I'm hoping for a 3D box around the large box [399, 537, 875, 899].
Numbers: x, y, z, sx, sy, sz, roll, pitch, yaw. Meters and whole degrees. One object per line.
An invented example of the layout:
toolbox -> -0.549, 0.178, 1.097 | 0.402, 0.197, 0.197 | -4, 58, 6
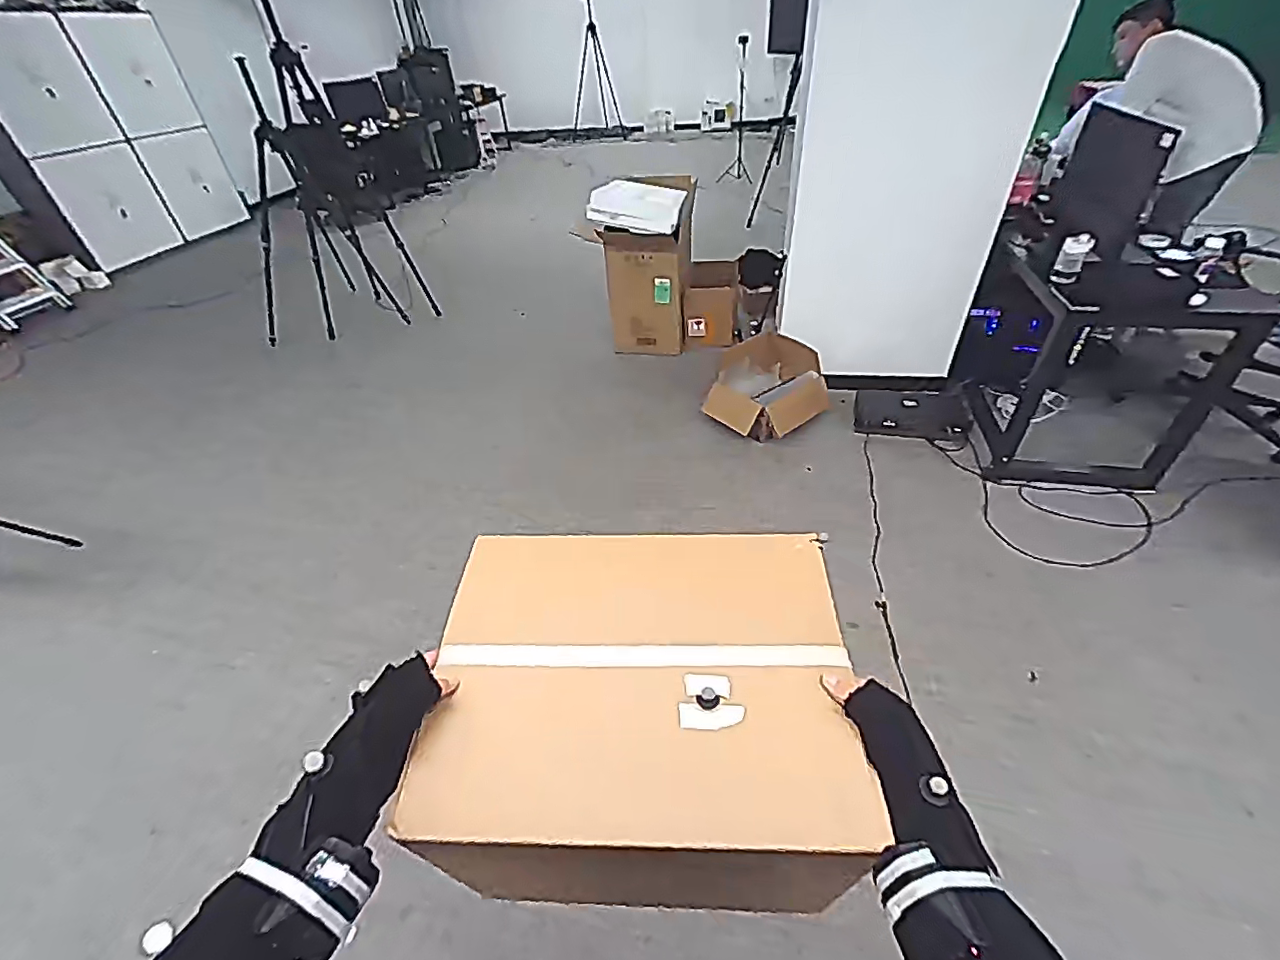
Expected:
large box -> 0.002, 0.284, 0.651 | 0.408, 0.320, 0.320 | 0, 45, 3
